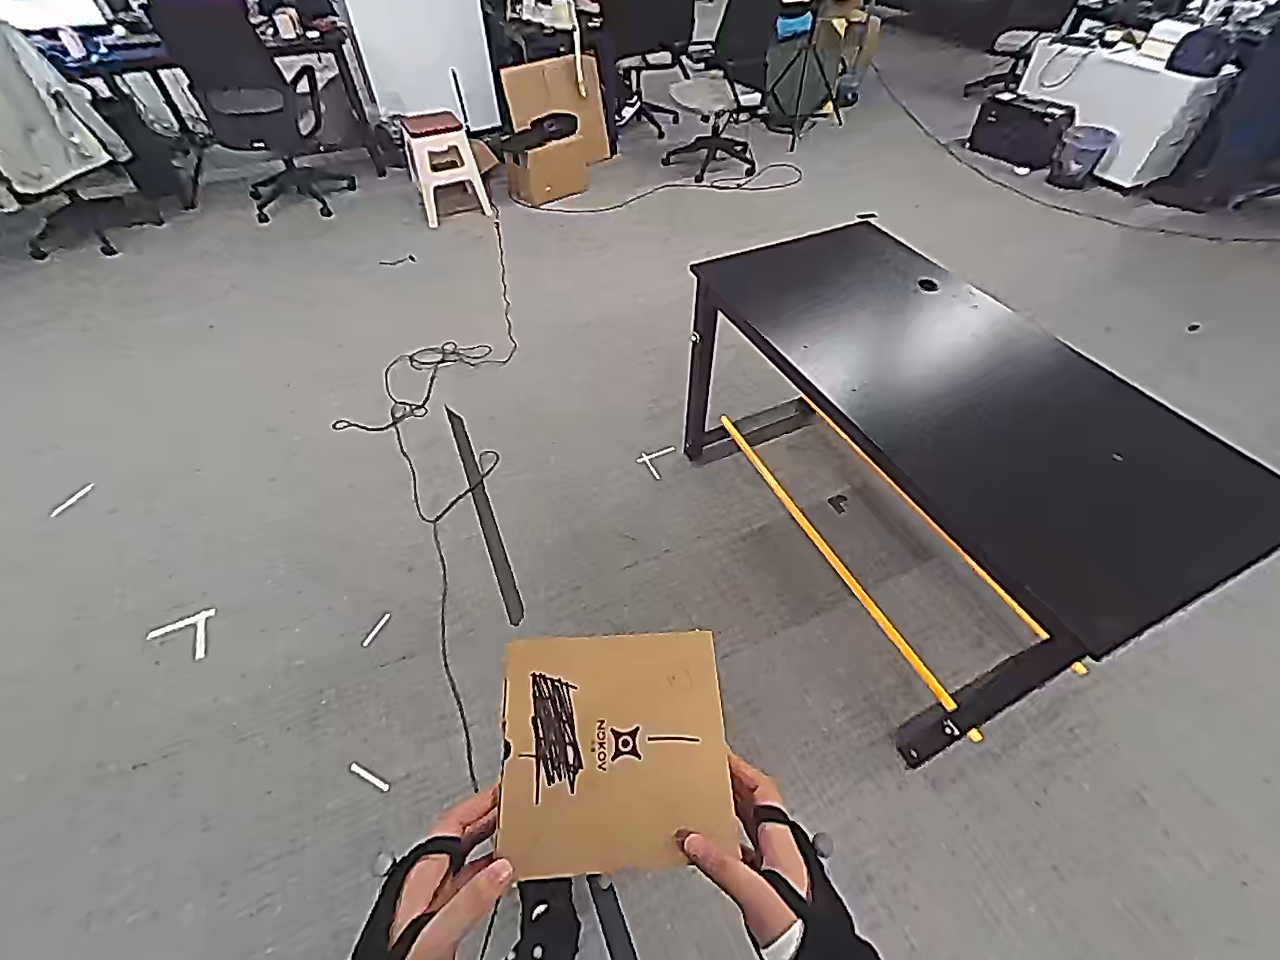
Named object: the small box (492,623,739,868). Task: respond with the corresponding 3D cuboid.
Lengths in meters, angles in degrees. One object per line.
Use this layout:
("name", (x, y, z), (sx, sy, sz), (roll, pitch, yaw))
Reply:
("small box", (-0.024, 0.235, 0.484), (0.179, 0.176, 0.168), (-2, 61, -5))
